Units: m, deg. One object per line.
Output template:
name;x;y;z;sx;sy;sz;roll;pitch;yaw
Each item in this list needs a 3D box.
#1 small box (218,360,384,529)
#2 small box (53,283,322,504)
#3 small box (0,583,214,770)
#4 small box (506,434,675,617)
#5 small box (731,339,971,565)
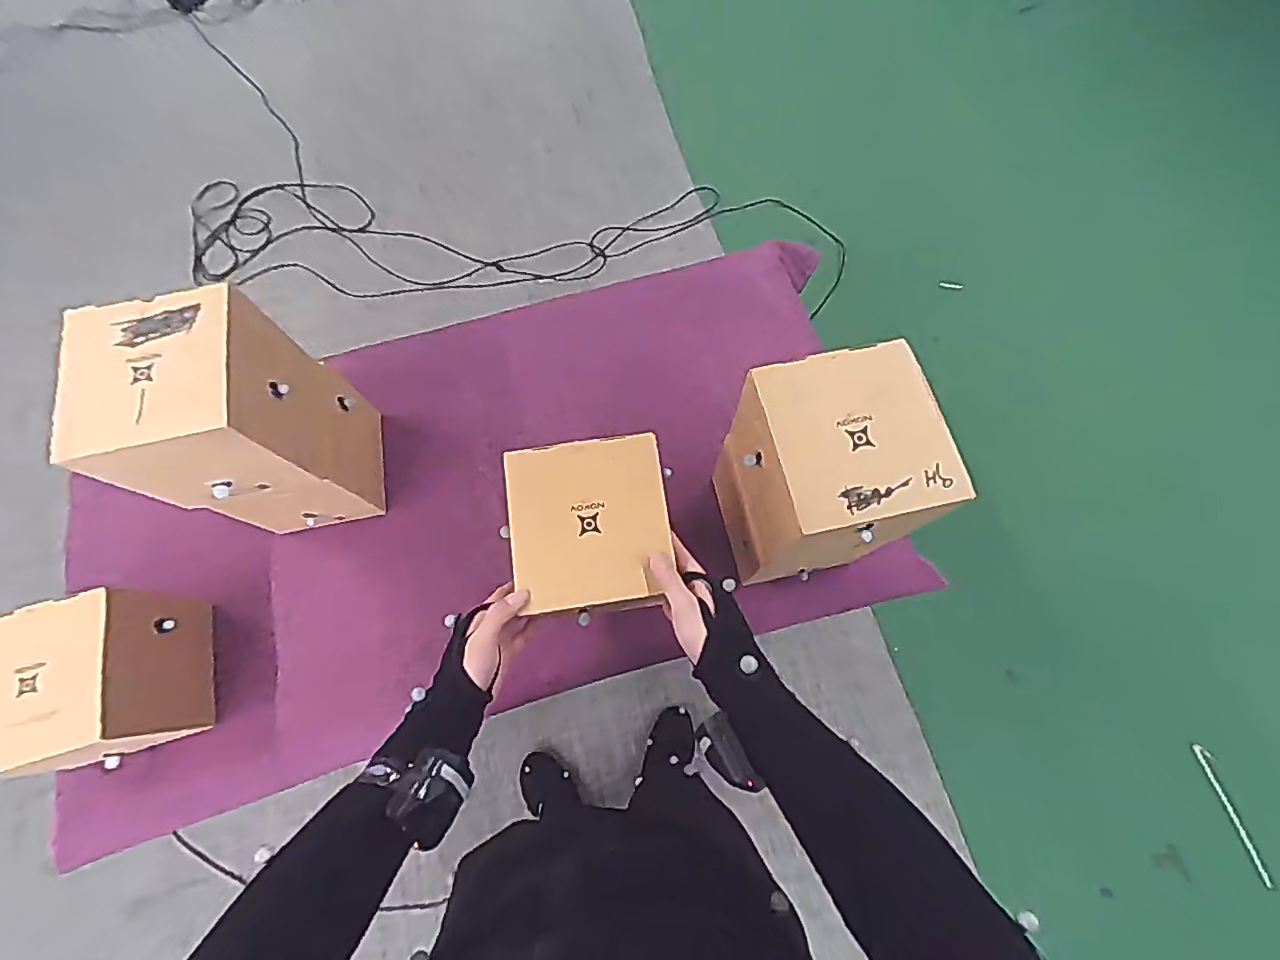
small box;-0.486;-0.043;0.774;0.168;0.176;0.179;-11;72;-3
small box;-0.491;-0.089;0.616;0.168;0.176;0.179;-12;73;-4
small box;-0.676;0.246;0.677;0.168;0.176;0.179;-16;71;-5
small box;-0.054;0.064;0.639;0.168;0.176;0.179;-8;73;-3
small box;0.205;-0.021;0.586;0.168;0.176;0.179;-12;70;-2
